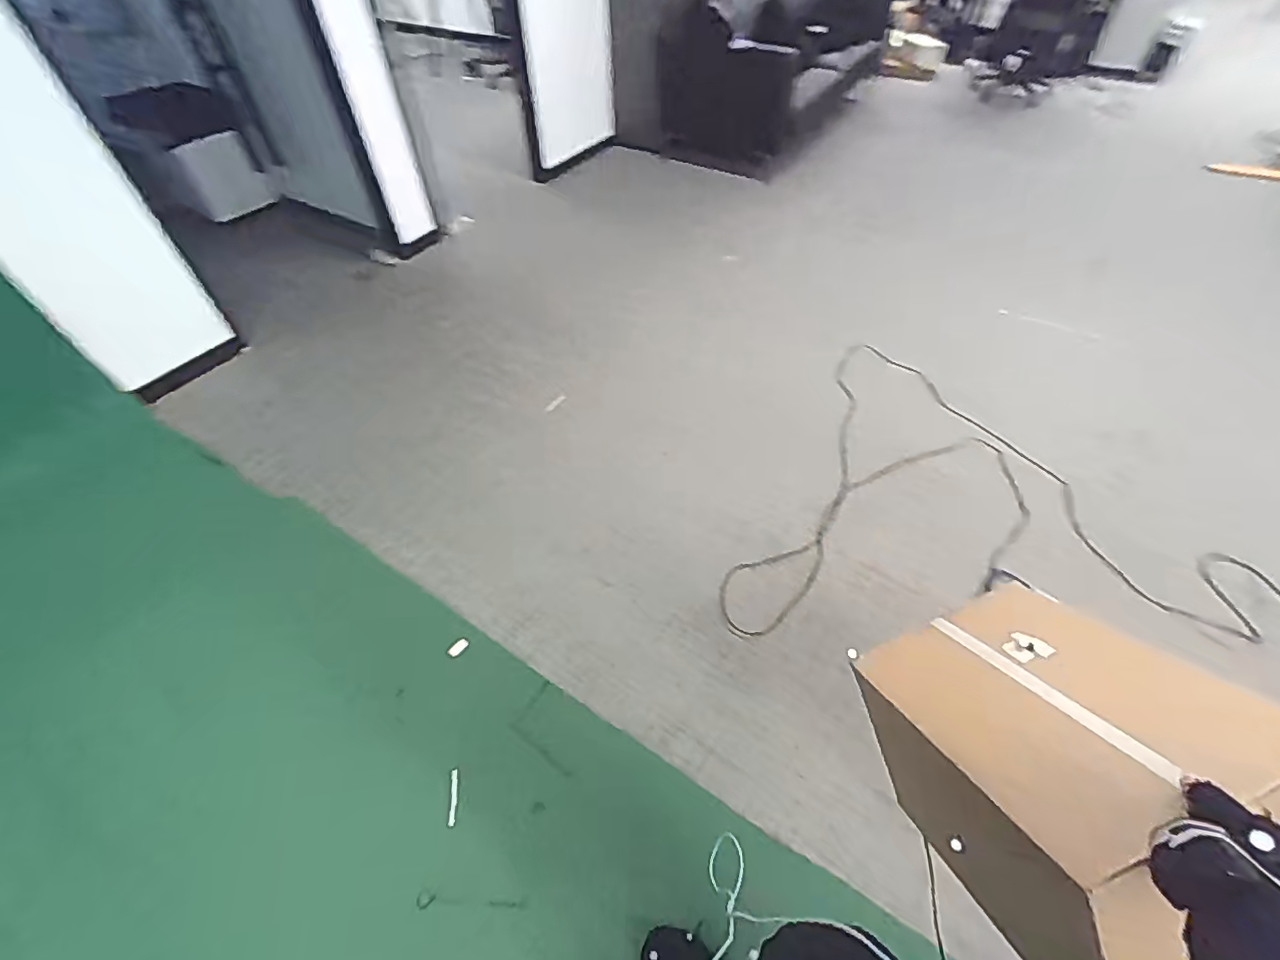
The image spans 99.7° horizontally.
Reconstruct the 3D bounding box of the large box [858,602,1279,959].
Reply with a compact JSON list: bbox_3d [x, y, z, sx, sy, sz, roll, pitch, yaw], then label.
[{"bbox_3d":[0.578,0.433,0.733,0.320,0.320,0.408,-22,14,-3],"label":"large box"}]
